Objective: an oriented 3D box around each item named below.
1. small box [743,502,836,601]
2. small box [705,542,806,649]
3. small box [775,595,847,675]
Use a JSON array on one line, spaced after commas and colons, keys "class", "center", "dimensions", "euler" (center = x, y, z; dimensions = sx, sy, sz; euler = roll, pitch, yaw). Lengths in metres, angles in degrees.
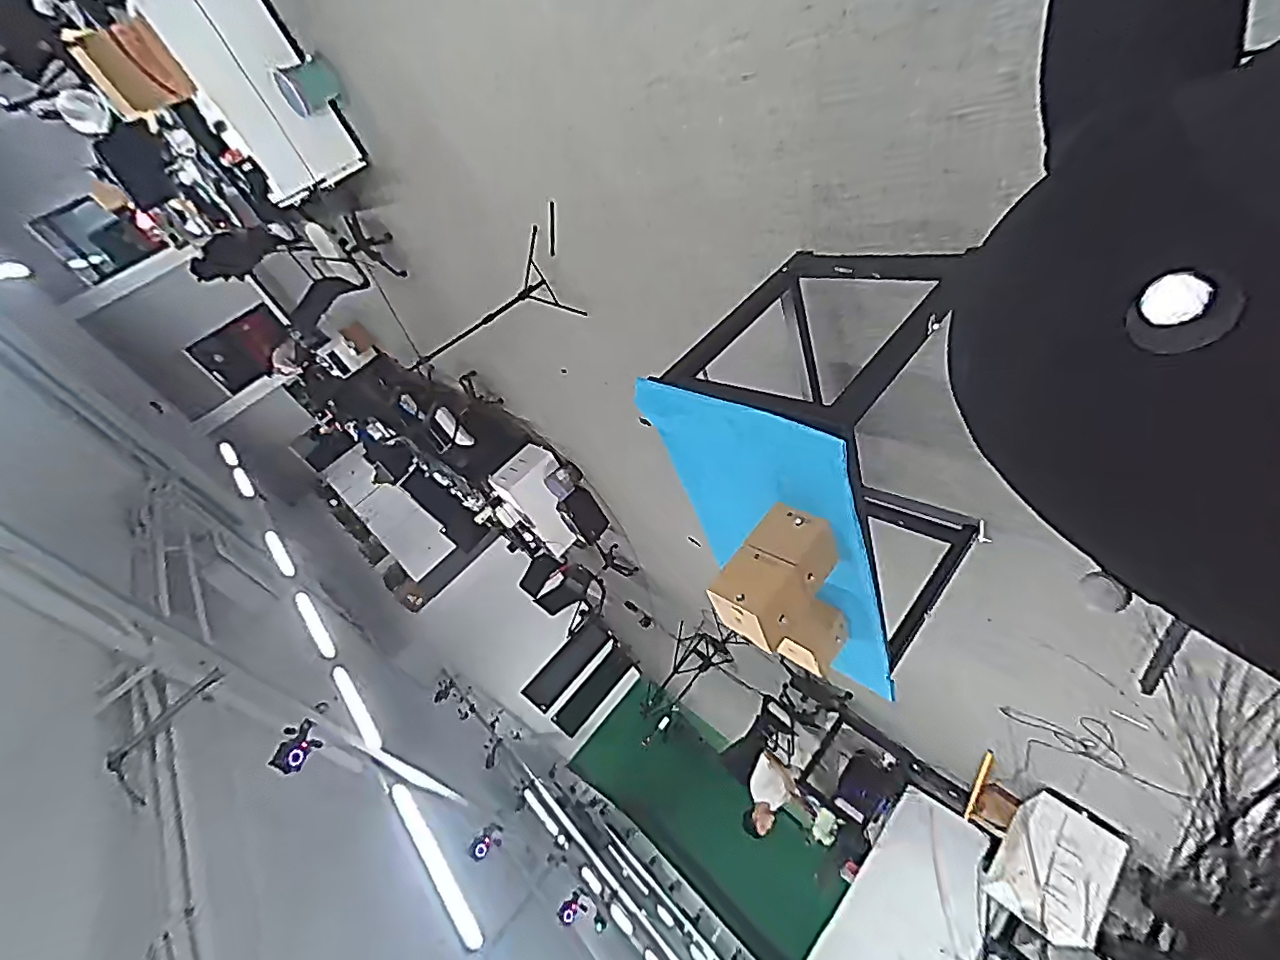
[{"class": "small box", "center": [0.413, 0.192, 1.471], "dimensions": [0.168, 0.176, 0.179], "euler": [23, 150, 45]}, {"class": "small box", "center": [0.306, 0.295, 1.404], "dimensions": [0.168, 0.176, 0.179], "euler": [21, 148, 48]}, {"class": "small box", "center": [0.552, 0.494, 1.774], "dimensions": [0.179, 0.176, 0.168], "euler": [23, 151, 42]}]
